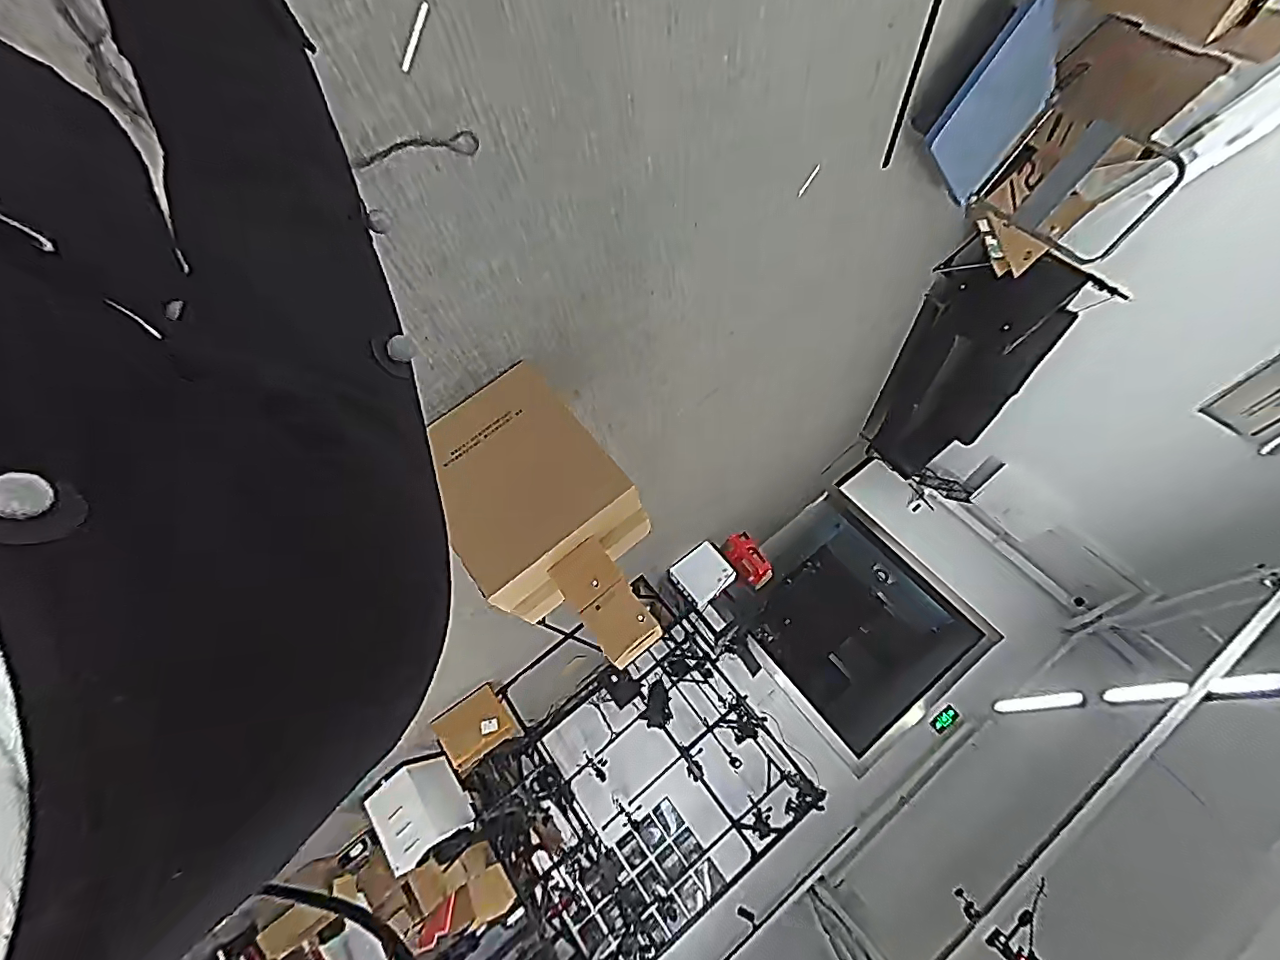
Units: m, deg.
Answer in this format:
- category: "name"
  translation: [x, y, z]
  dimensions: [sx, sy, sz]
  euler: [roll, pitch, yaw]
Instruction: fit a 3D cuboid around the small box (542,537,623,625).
- category: "small box"
  translation: [-0.178, 0.307, 1.641]
  dimensions: [0.179, 0.176, 0.168]
  euler: [-39, 156, -10]
